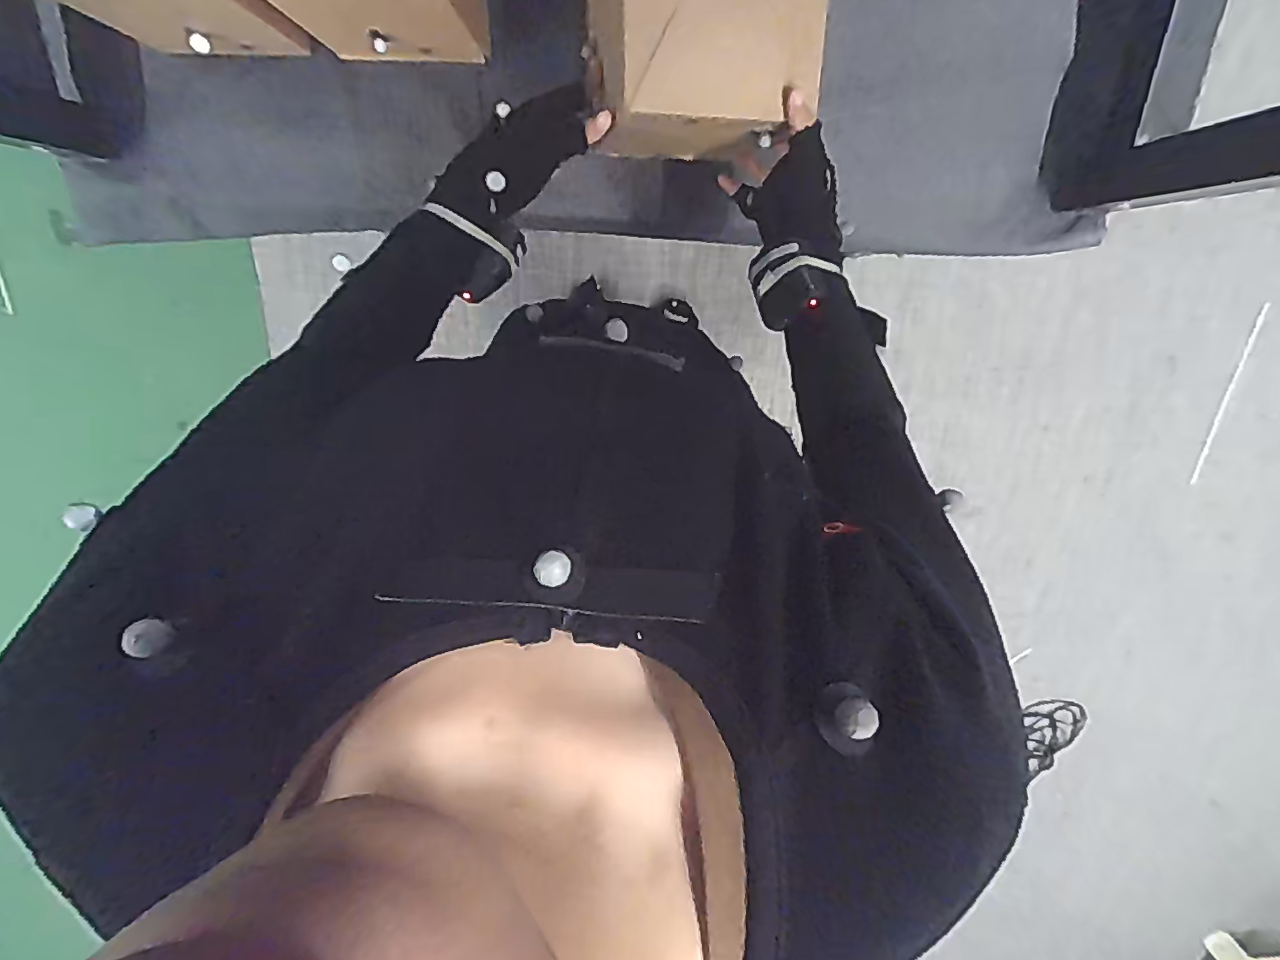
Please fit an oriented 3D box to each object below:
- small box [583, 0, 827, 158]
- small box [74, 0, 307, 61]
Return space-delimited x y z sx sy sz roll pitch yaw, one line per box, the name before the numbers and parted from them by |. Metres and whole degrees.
small box | 0.047 -0.396 0.468 0.168 0.176 0.179 -6 113 -15
small box | -0.436 -0.514 0.481 0.168 0.176 0.179 1 109 1
